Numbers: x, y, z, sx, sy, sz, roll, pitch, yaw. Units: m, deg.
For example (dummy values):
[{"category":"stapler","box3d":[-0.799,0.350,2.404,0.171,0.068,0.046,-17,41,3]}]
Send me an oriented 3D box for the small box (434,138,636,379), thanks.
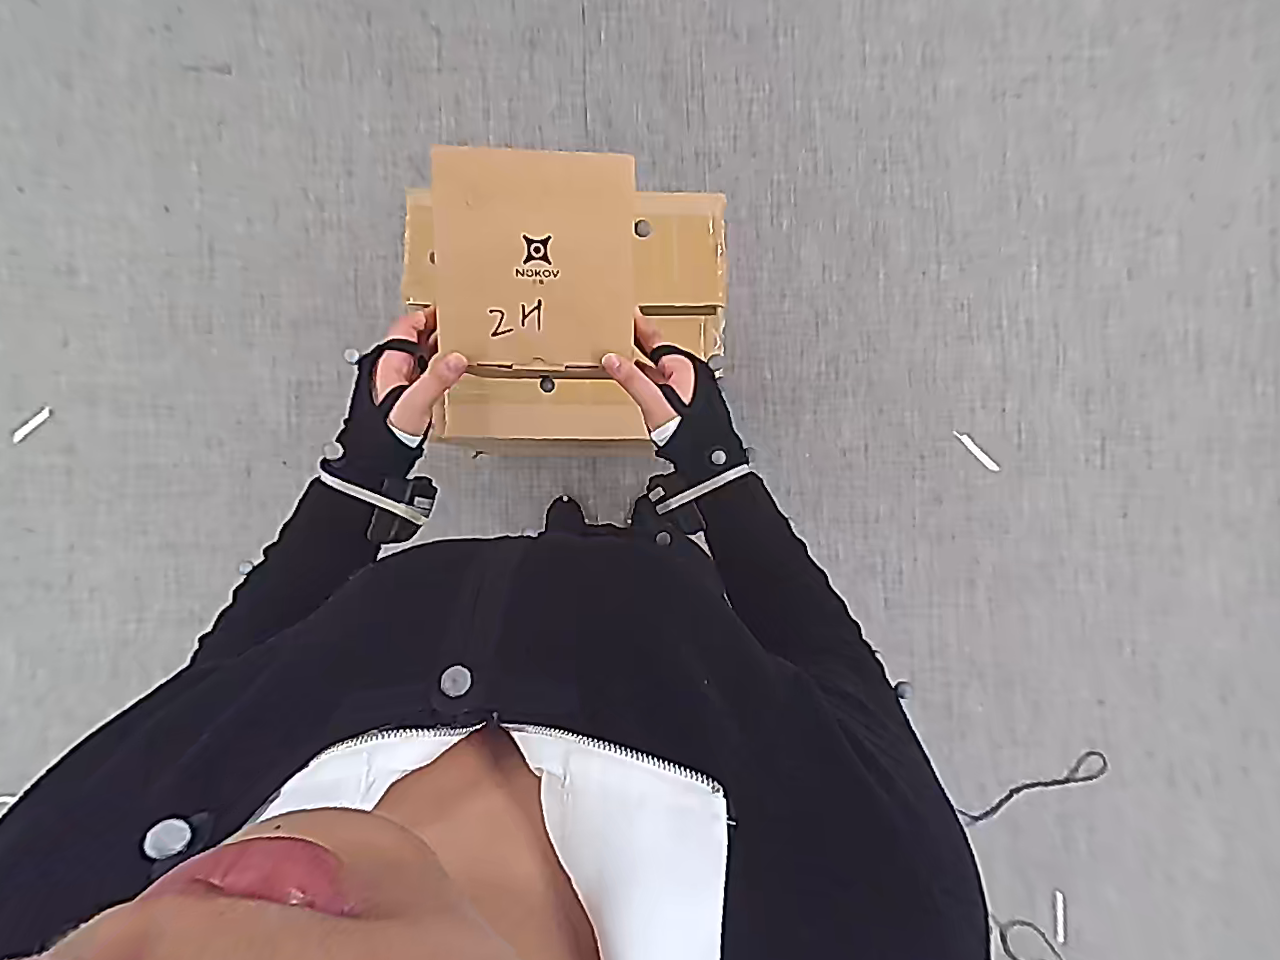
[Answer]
[{"category":"small box","box3d":[-0.094,-0.195,0.527,0.168,0.176,0.179,0,97,-5]}]
